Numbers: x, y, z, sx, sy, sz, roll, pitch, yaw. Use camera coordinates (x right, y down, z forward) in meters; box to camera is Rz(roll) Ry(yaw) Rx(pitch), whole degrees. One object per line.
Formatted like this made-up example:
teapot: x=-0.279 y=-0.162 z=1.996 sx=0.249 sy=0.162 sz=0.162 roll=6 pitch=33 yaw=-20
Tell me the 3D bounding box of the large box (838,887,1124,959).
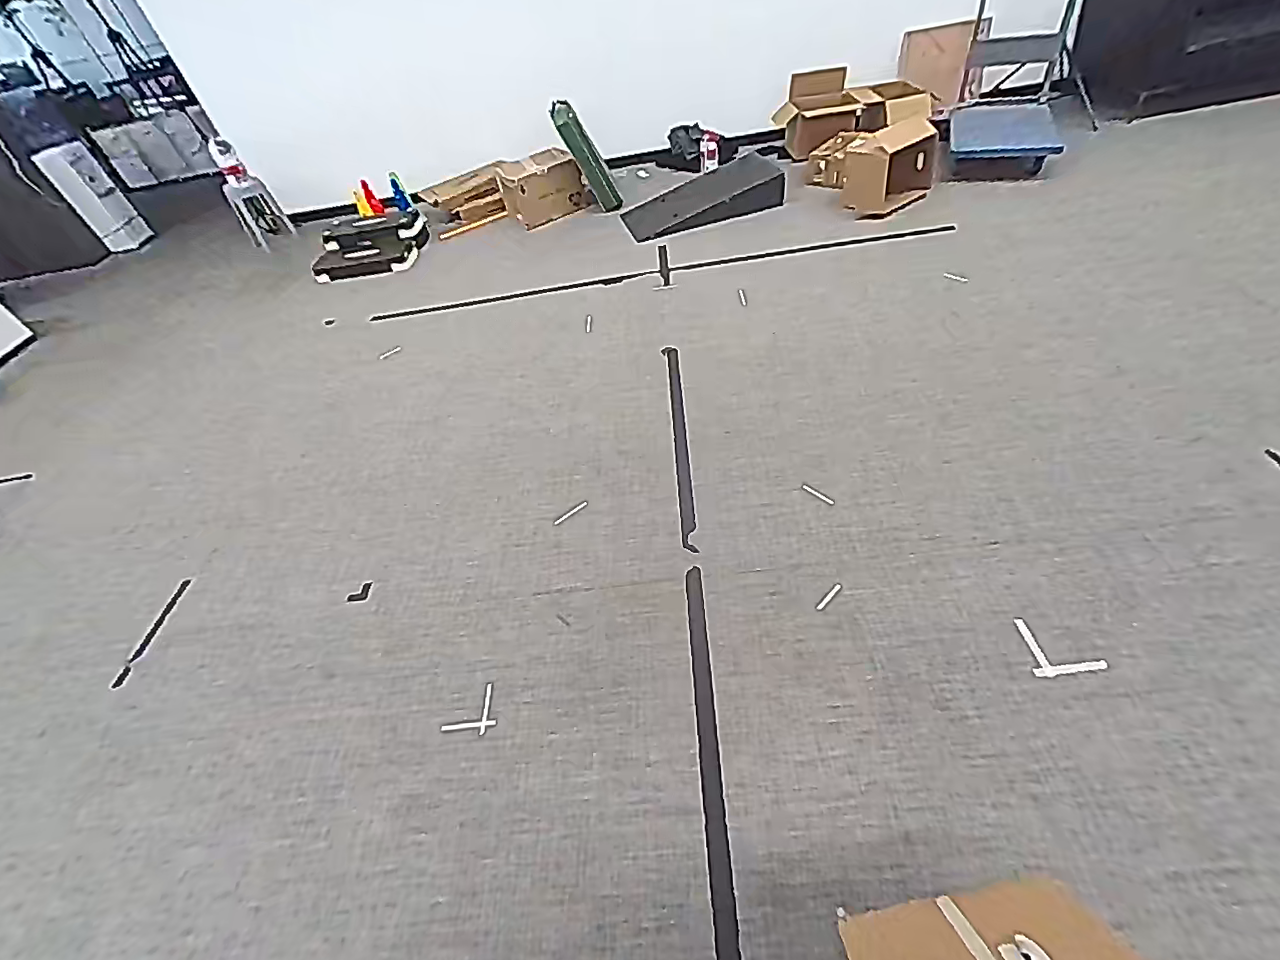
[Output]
large box: x=0.459 y=0.740 z=0.572 sx=0.320 sy=0.408 sz=0.320 roll=-14 pitch=80 yaw=3
